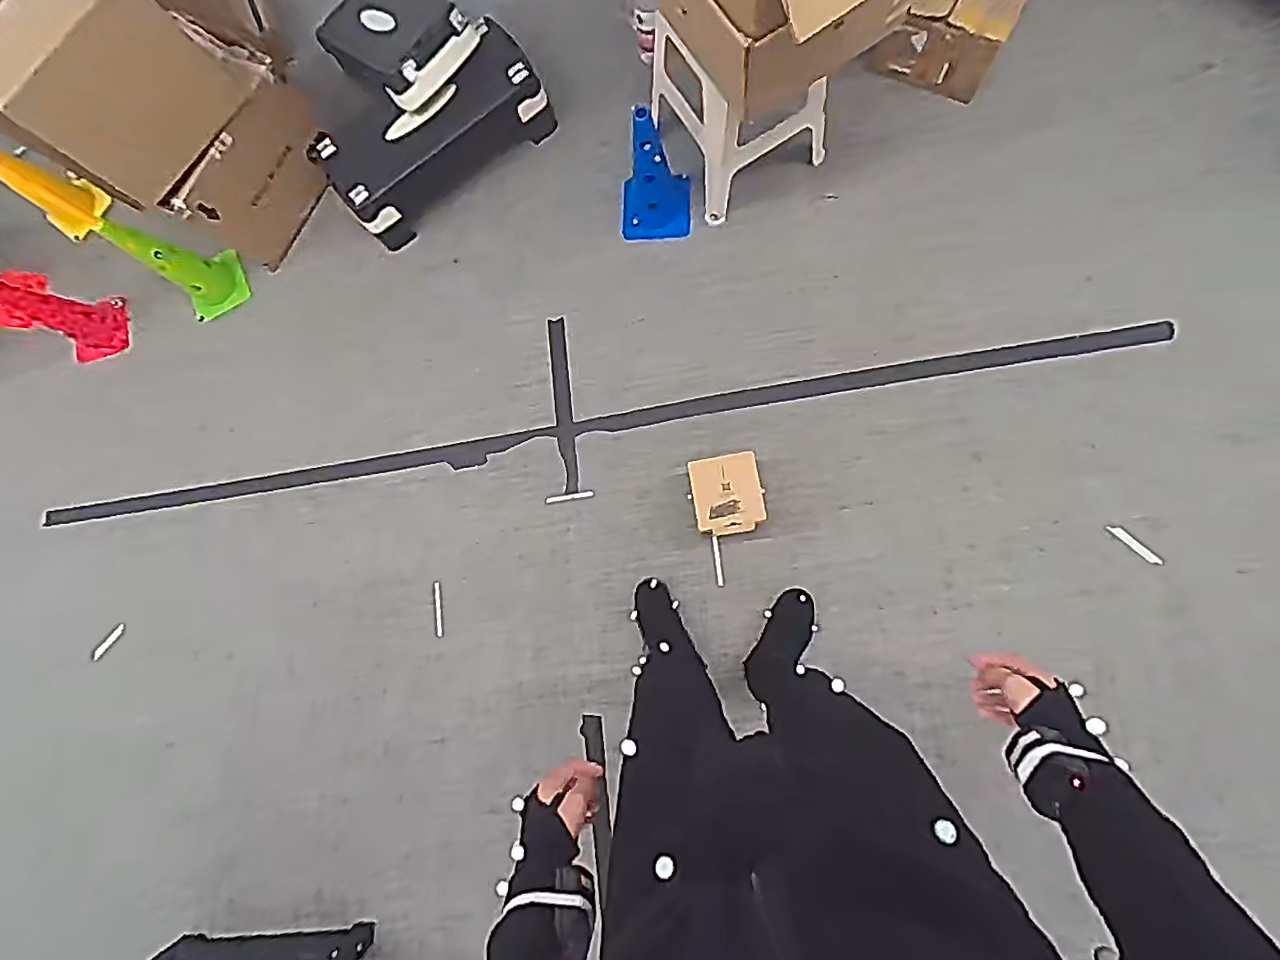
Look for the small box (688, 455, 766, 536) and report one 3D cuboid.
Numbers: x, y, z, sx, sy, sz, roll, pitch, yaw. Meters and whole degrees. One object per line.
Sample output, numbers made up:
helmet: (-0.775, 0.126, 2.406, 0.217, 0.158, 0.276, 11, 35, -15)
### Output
small box: (0.223, 0.047, 1.390, 0.168, 0.176, 0.179, -10, 80, 6)
